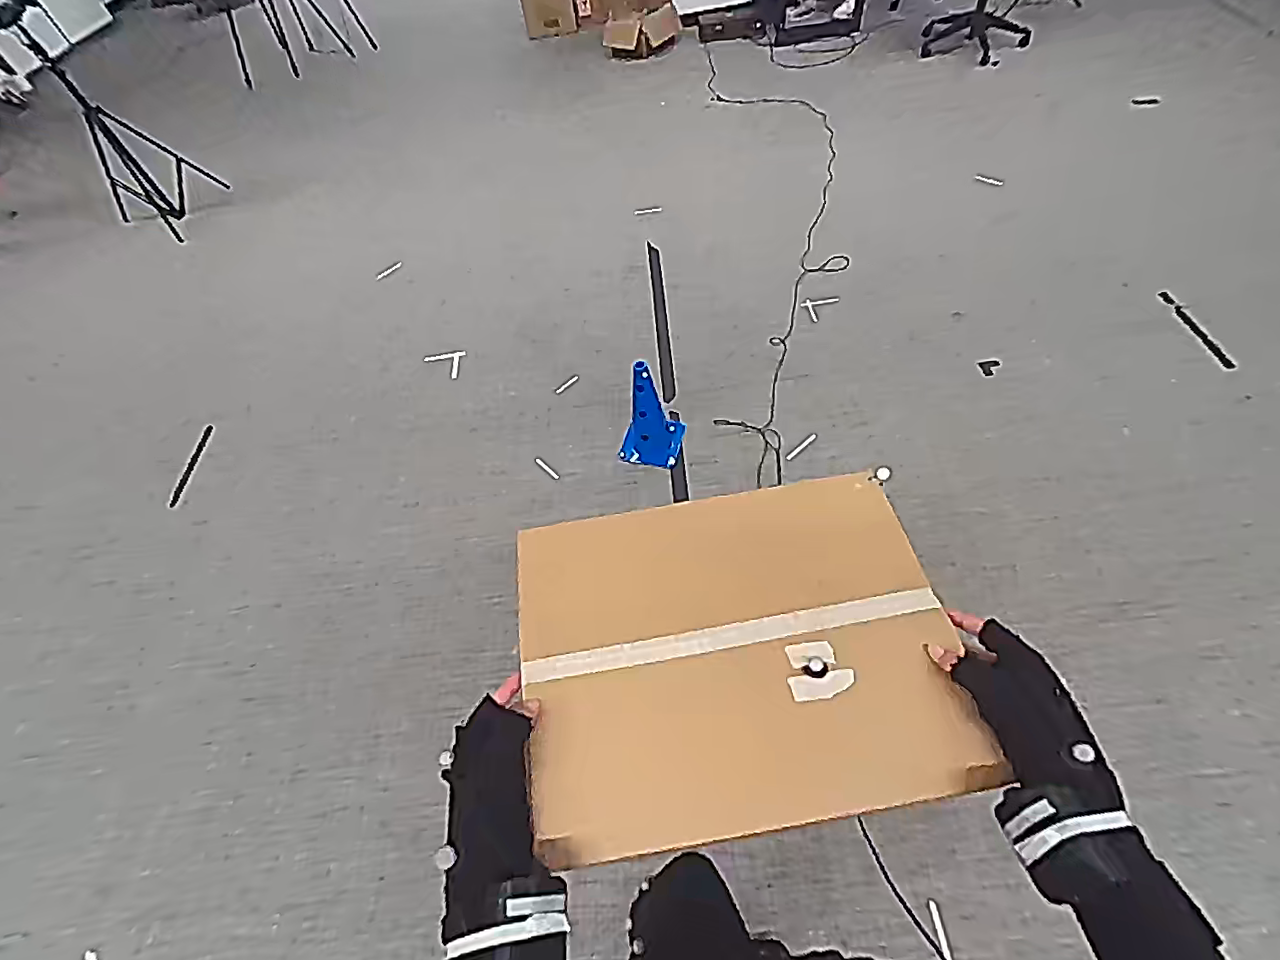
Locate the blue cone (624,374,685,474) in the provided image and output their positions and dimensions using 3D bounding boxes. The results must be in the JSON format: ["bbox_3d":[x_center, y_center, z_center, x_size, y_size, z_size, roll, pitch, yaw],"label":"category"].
[{"bbox_3d":[0.029,-0.203,1.748,0.193,0.380,0.192,10,58,16],"label":"blue cone"}]

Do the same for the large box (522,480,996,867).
[{"bbox_3d":[0.095,0.243,0.655,0.408,0.320,0.320,-10,56,-1],"label":"large box"}]
